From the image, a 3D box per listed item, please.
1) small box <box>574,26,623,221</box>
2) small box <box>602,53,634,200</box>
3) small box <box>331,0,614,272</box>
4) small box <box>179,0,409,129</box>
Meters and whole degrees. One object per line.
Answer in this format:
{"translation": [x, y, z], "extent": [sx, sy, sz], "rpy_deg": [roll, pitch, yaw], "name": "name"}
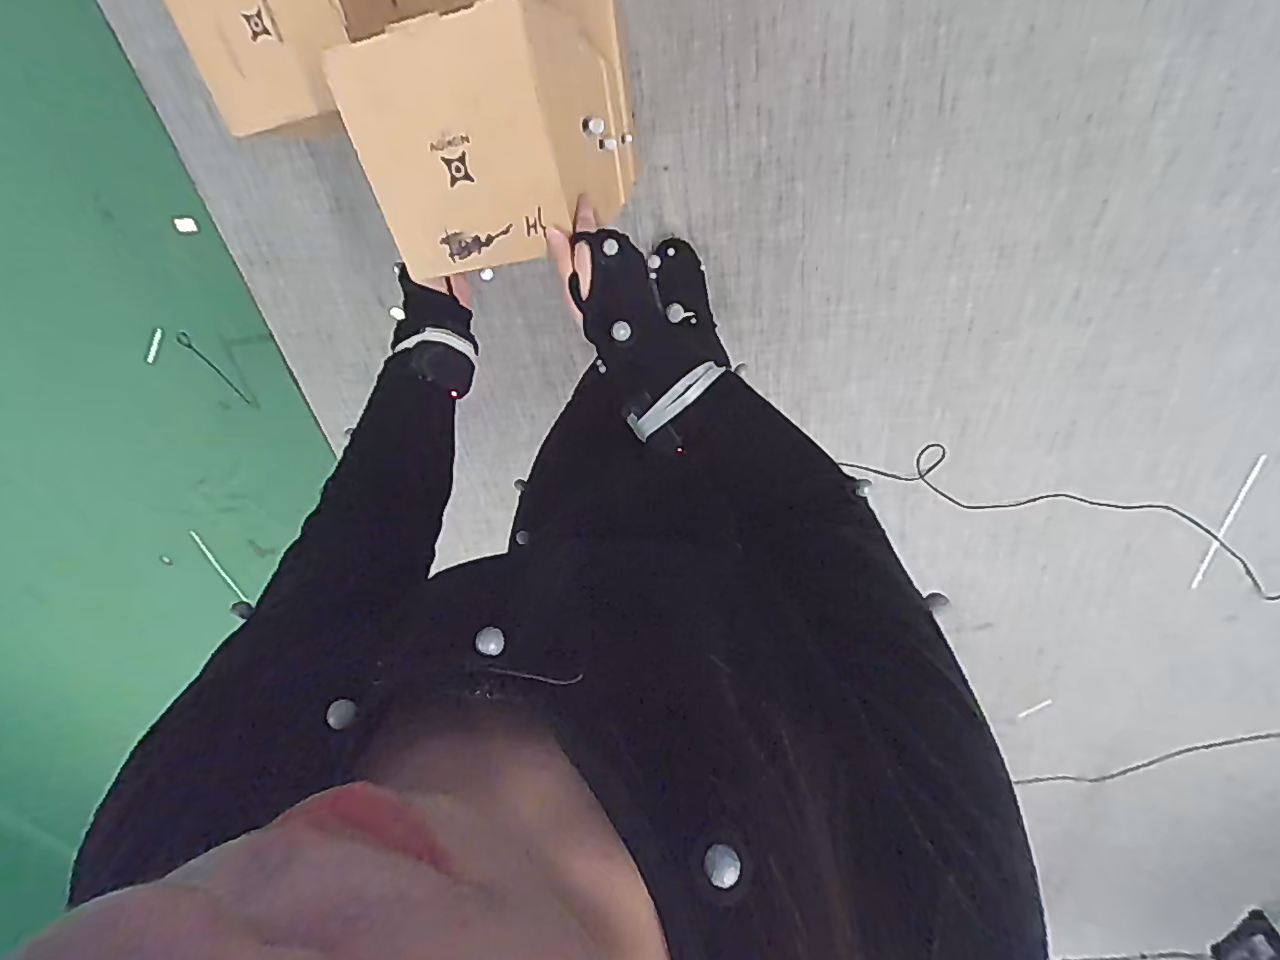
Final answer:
{"translation": [-0.117, -0.408, 0.645], "extent": [0.168, 0.176, 0.179], "rpy_deg": [-4, 125, 7], "name": "small box"}
{"translation": [-0.104, -0.497, 0.781], "extent": [0.179, 0.176, 0.168], "rpy_deg": [-4, 123, 7], "name": "small box"}
{"translation": [-0.132, -0.314, 0.503], "extent": [0.168, 0.176, 0.179], "rpy_deg": [-3, 125, 14], "name": "small box"}
{"translation": [-0.362, -0.506, 0.604], "extent": [0.179, 0.176, 0.168], "rpy_deg": [-6, 121, 10], "name": "small box"}
